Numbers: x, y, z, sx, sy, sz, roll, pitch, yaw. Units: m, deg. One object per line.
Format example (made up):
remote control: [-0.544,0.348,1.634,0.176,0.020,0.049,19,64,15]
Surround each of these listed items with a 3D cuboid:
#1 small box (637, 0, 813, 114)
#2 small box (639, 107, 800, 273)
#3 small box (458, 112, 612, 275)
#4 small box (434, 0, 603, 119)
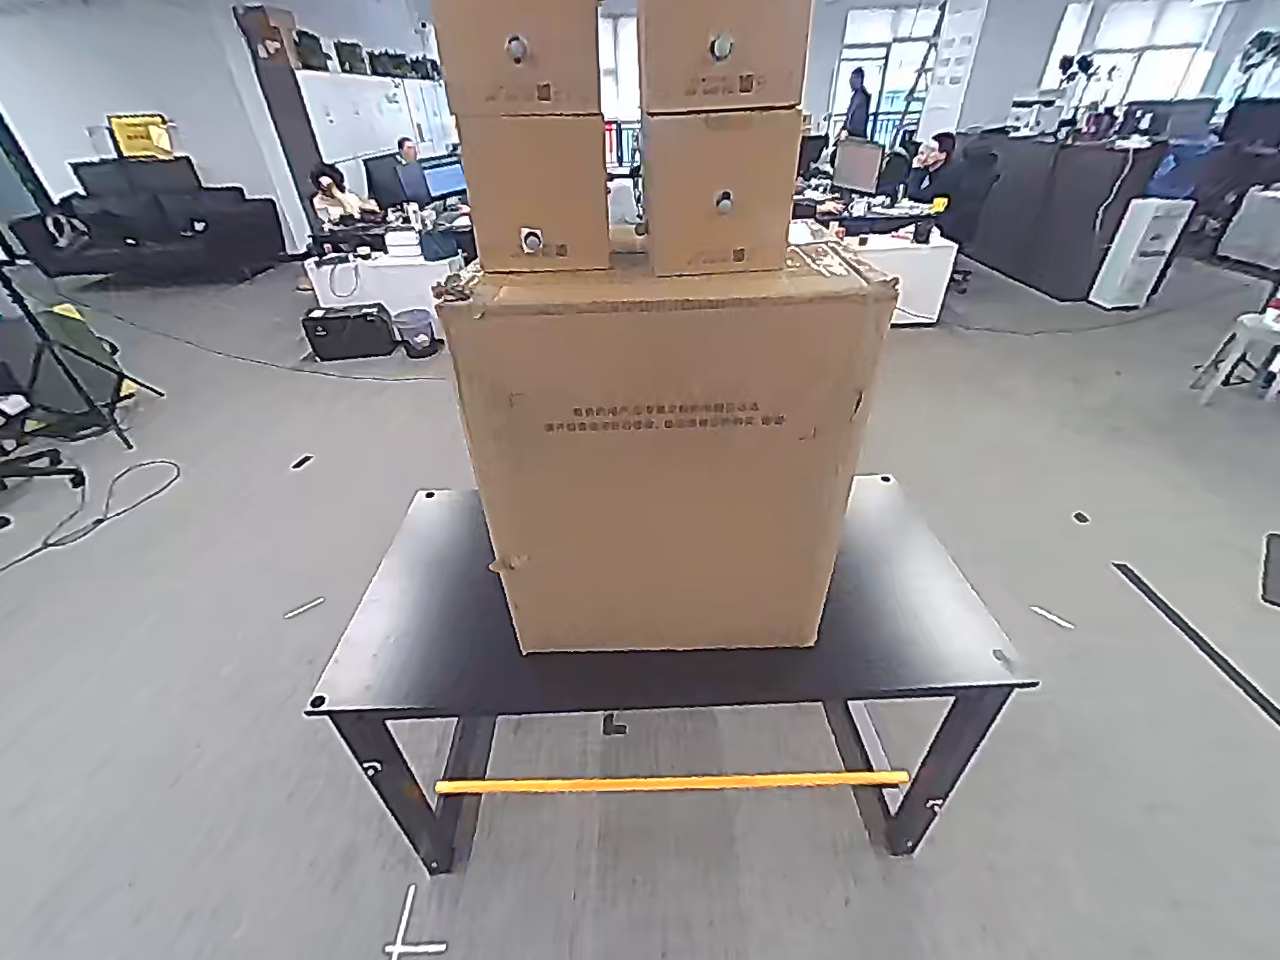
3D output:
small box: [0.081,-0.497,0.580,0.168,0.176,0.179,-3,36,0]
small box: [0.089,-0.366,0.681,0.168,0.176,0.179,-4,36,-2]
small box: [-0.126,-0.376,0.705,0.168,0.176,0.179,-5,37,-5]
small box: [-0.130,-0.509,0.608,0.168,0.176,0.179,-3,35,-3]
